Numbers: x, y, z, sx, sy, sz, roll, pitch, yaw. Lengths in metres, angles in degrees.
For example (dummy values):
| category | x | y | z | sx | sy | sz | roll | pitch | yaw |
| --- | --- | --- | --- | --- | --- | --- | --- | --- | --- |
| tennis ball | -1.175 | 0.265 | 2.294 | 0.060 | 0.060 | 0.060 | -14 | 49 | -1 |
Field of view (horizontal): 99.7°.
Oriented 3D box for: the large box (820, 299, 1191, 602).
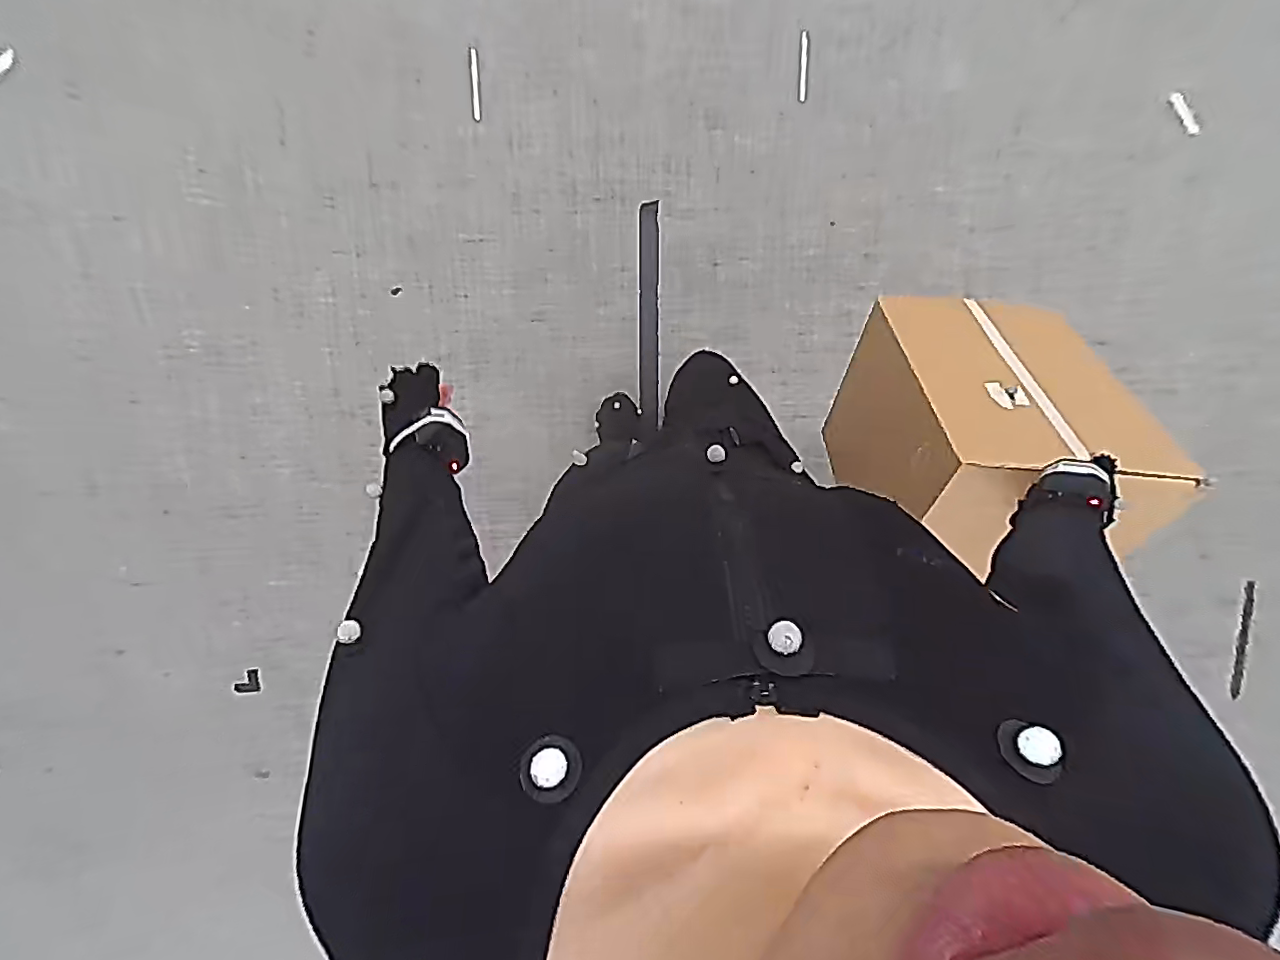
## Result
| category | x | y | z | sx | sy | sz | roll | pitch | yaw |
| --- | --- | --- | --- | --- | --- | --- | --- | --- | --- |
| large box | 0.540 | -0.053 | 0.918 | 0.320 | 0.408 | 0.320 | 4 | 139 | -2 |
